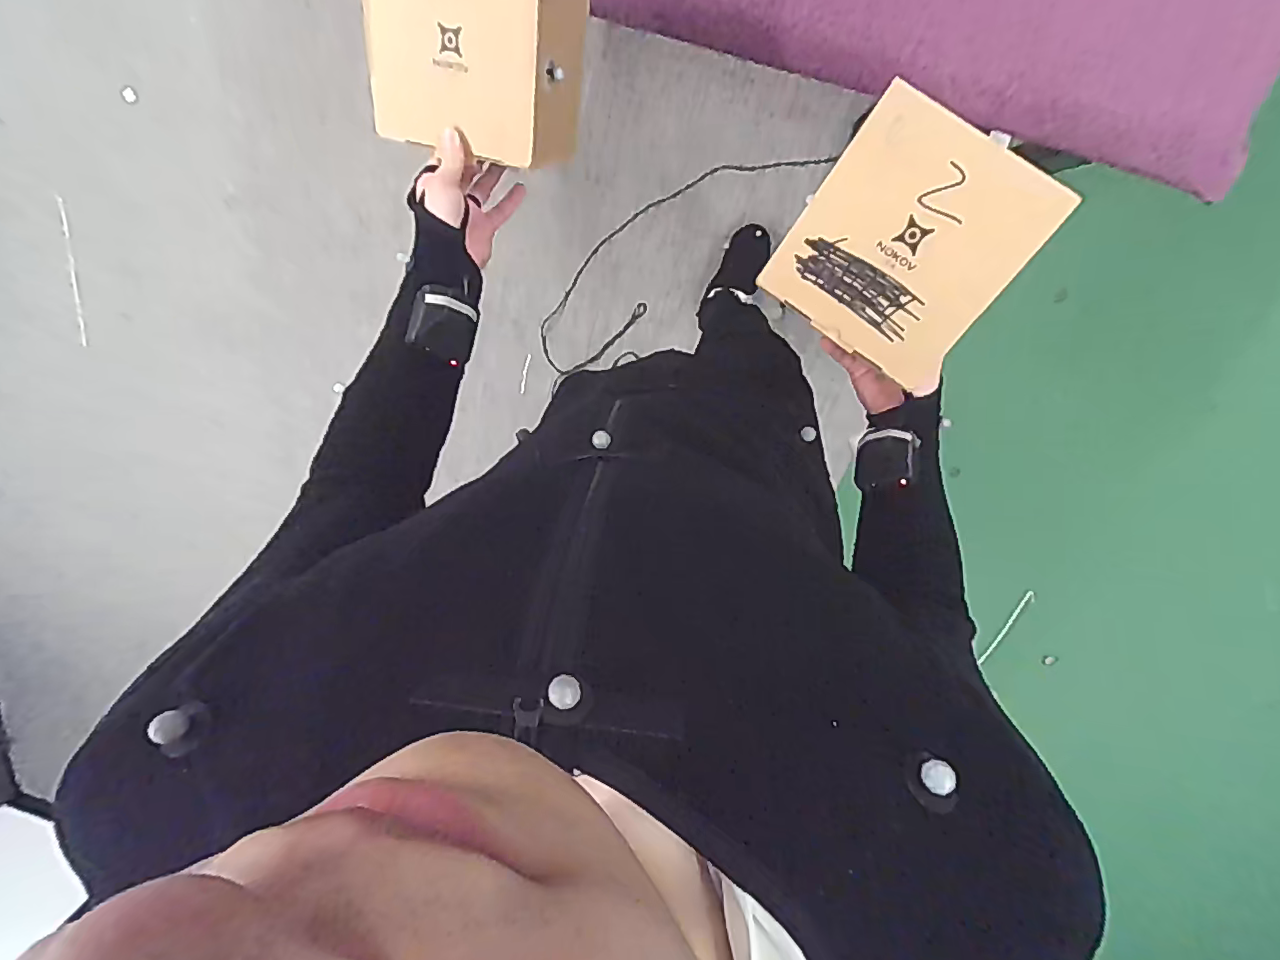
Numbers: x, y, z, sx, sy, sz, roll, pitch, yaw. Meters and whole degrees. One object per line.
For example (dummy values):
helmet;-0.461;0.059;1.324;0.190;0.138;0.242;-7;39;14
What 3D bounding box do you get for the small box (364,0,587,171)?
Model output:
small box;-0.160;-0.444;0.563;0.168;0.176;0.179;14;125;2
